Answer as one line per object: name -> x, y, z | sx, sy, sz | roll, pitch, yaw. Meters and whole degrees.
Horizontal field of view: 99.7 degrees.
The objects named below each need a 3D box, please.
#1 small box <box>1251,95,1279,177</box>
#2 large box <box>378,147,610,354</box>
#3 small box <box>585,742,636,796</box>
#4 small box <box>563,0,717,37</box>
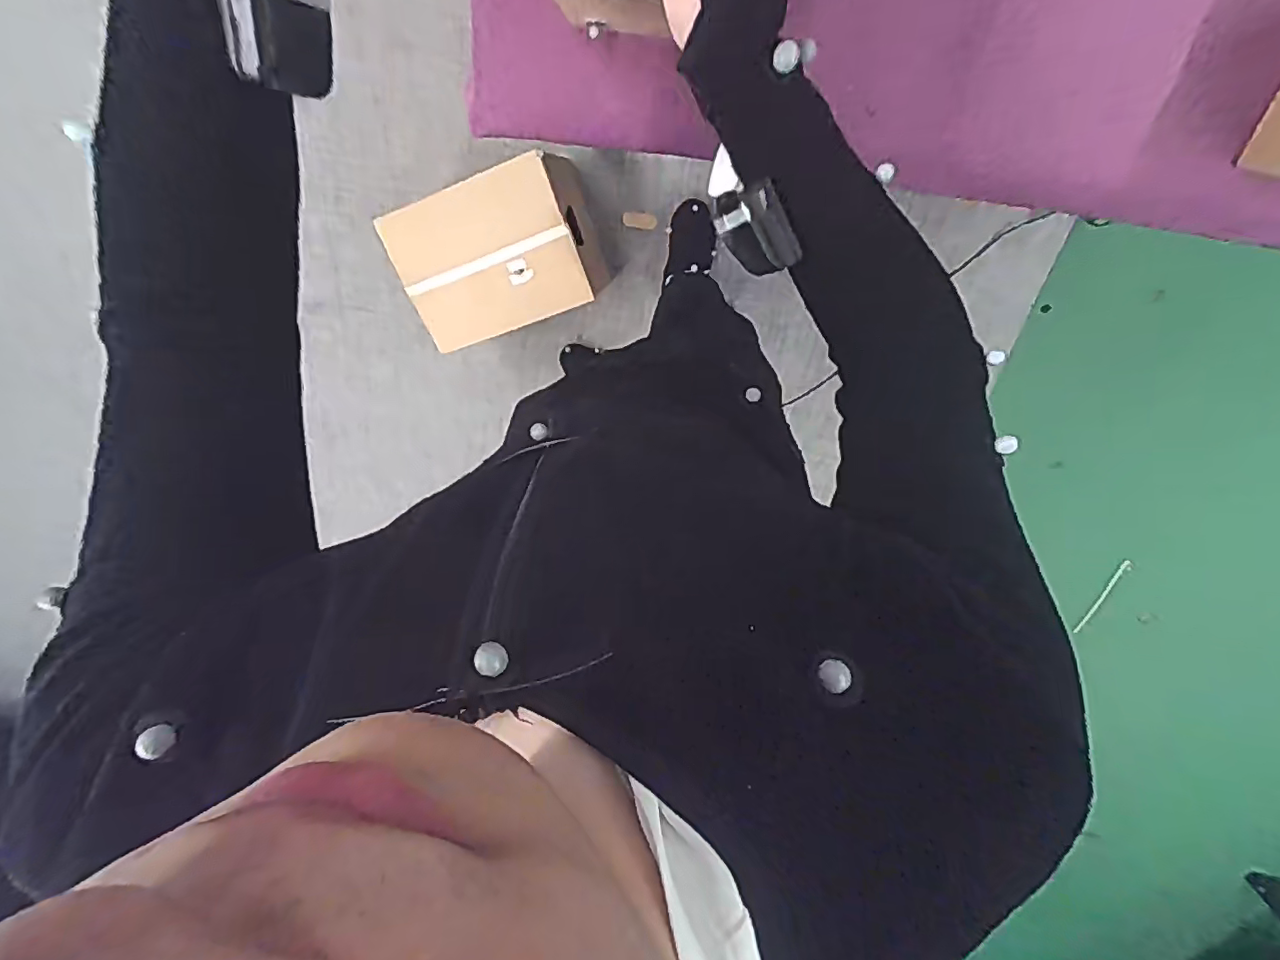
small box -> 0.796, -0.399, 0.533 | 0.168, 0.176, 0.179 | 12, 115, 1
large box -> -0.323, -0.547, 1.313 | 0.408, 0.320, 0.320 | -16, 115, 12
small box -> -0.120, 1.229, 2.236 | 0.168, 0.176, 0.179 | 16, 117, 1
small box -> 0.005, -0.563, 0.524 | 0.168, 0.176, 0.179 | 7, 117, 1
